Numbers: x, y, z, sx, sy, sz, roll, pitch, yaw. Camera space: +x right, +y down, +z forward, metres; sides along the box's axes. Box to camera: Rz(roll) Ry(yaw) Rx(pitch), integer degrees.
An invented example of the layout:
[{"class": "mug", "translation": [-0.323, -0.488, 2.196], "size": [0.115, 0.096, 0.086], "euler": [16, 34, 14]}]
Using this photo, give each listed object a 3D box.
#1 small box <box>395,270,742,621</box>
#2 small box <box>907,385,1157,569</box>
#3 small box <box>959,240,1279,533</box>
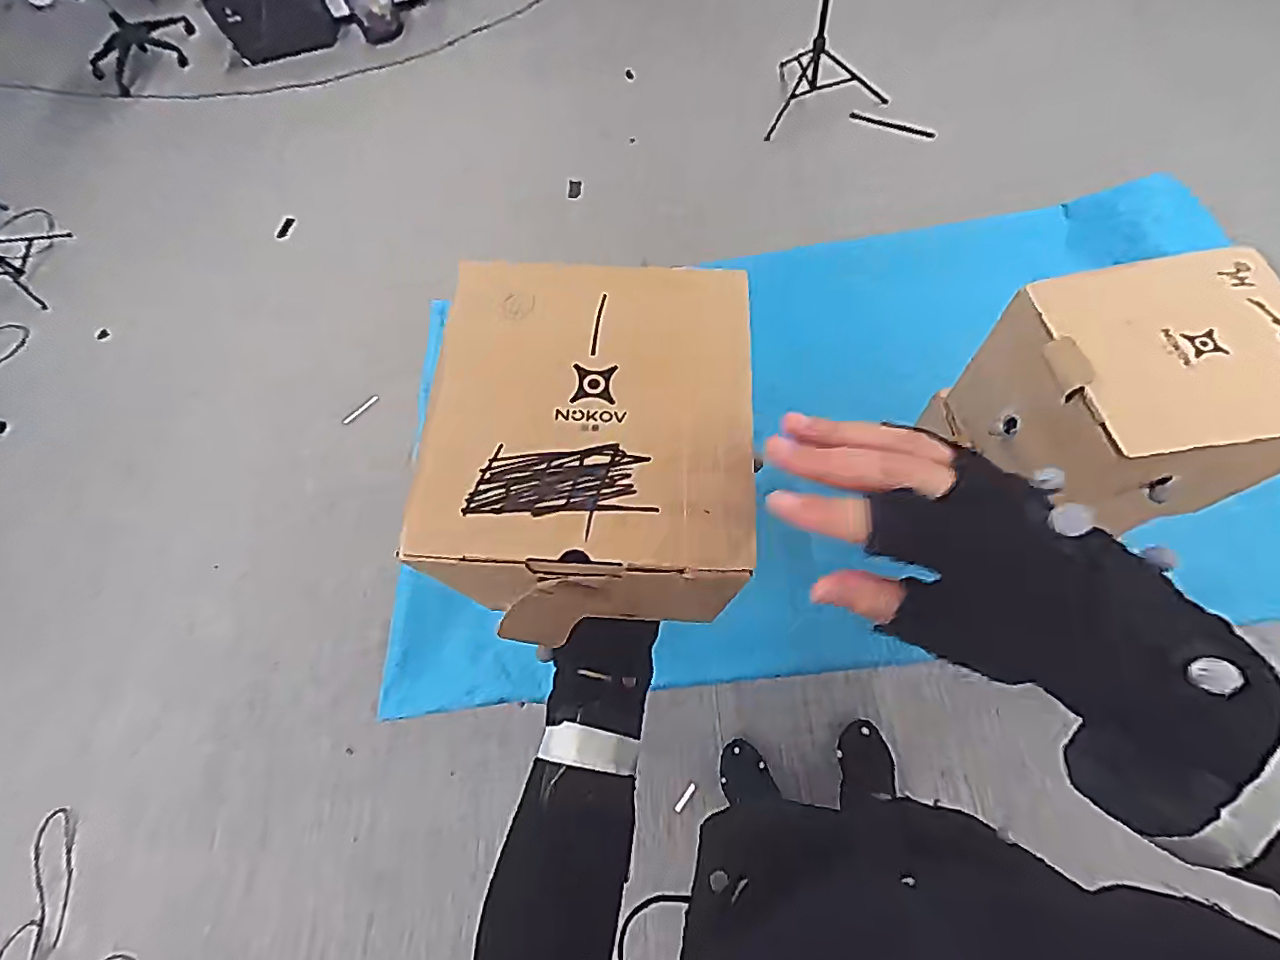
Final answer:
[{"class": "small box", "translation": [-0.027, -0.008, 0.351], "size": [0.168, 0.176, 0.179], "euler": [3, 68, 2]}, {"class": "small box", "translation": [0.426, -0.004, 0.616], "size": [0.179, 0.176, 0.168], "euler": [-8, 65, 6]}, {"class": "small box", "translation": [0.408, -0.066, 0.467], "size": [0.179, 0.176, 0.168], "euler": [-11, 64, 4]}]
